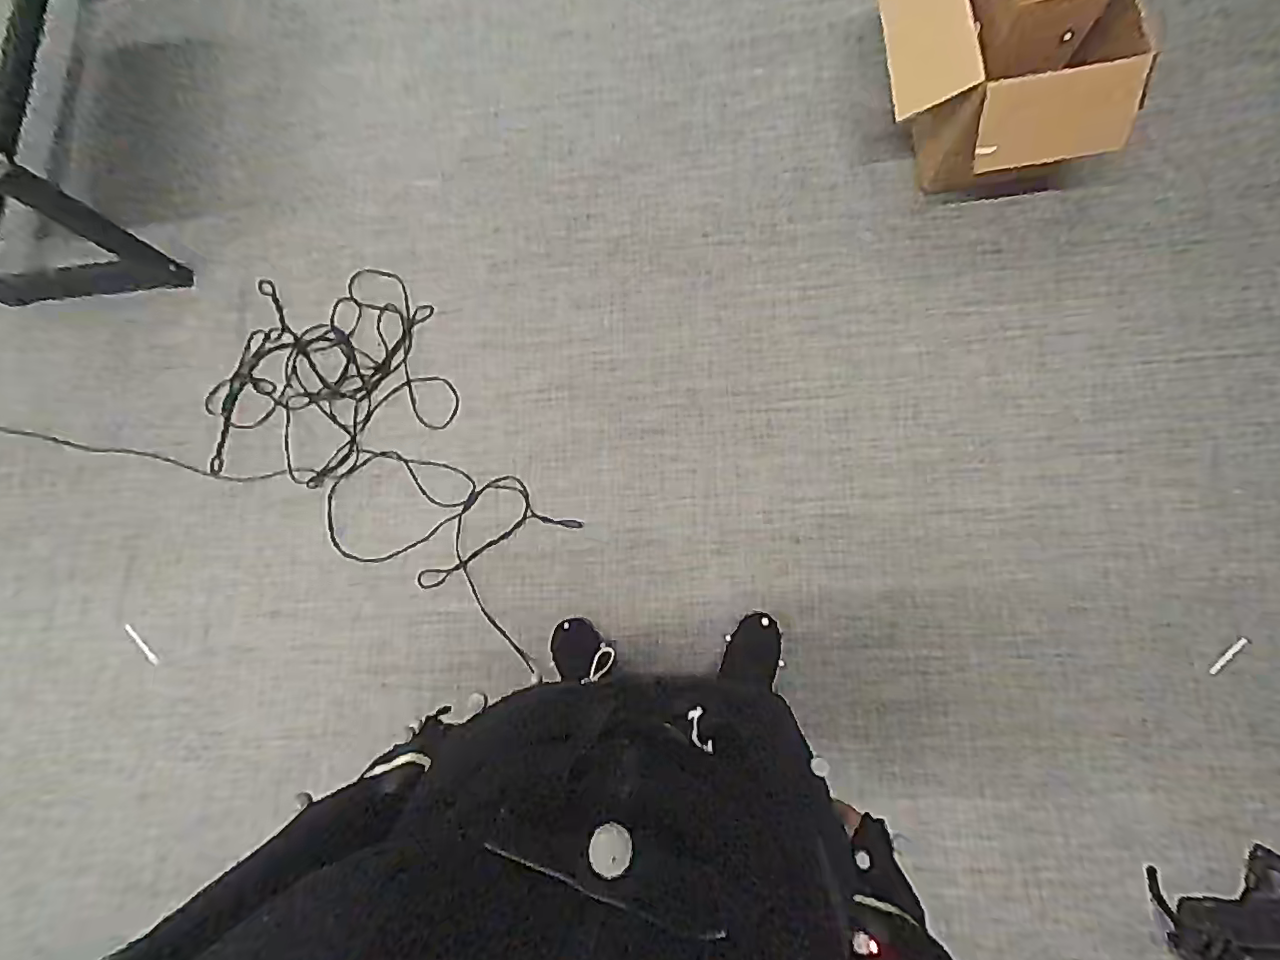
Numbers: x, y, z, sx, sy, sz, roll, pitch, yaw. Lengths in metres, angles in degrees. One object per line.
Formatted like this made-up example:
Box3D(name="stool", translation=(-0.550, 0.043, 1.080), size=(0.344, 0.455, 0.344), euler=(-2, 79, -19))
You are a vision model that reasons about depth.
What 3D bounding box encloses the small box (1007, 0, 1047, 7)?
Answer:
Box3D(name="small box", translation=(0.762, -0.994, 0.958), size=(0.179, 0.176, 0.168), euler=(-11, 76, 3))
